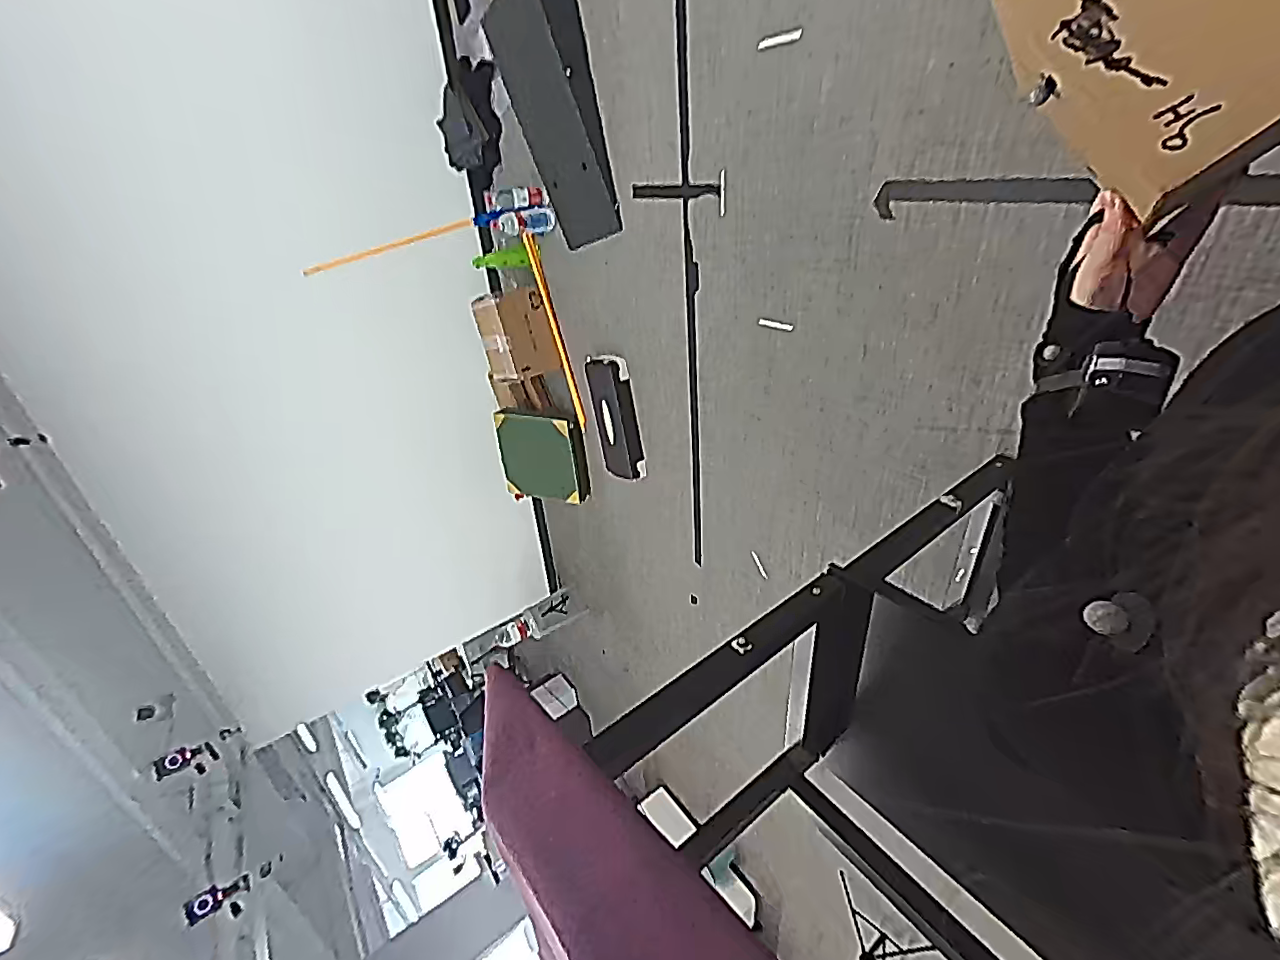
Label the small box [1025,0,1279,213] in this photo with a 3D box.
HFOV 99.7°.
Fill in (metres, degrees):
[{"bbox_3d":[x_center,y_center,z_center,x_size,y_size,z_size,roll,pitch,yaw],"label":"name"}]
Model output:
[{"bbox_3d":[0.350,-0.289,0.307,0.179,0.176,0.168,-36,78,40],"label":"small box"}]
